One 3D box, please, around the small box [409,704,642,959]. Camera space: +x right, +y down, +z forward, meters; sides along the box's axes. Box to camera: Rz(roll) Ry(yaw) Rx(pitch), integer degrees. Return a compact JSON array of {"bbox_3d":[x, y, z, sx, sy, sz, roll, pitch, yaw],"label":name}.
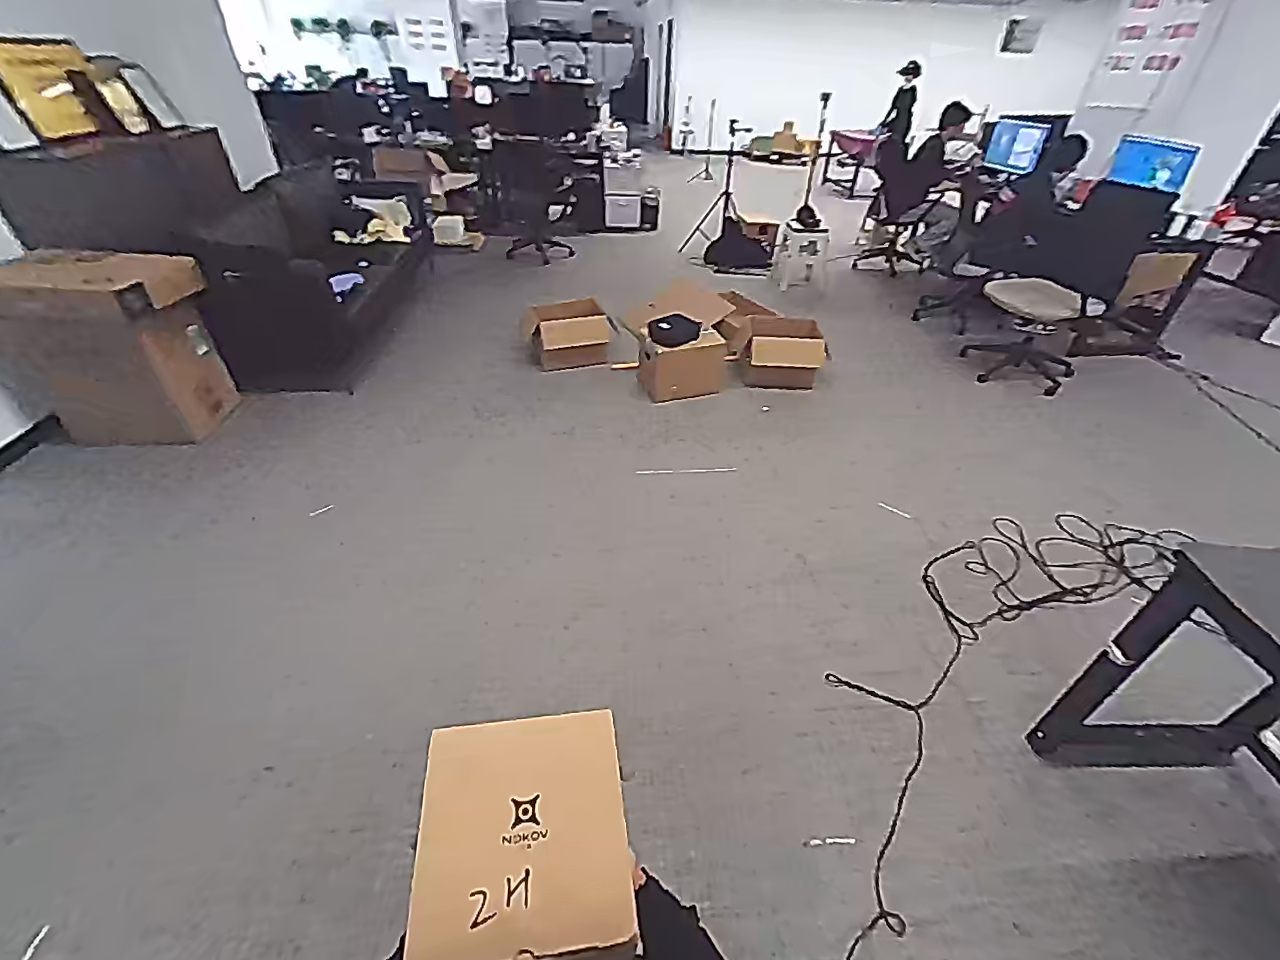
[{"bbox_3d":[-0.096,0.334,0.495,0.168,0.176,0.179,-2,42,-9],"label":"small box"}]
